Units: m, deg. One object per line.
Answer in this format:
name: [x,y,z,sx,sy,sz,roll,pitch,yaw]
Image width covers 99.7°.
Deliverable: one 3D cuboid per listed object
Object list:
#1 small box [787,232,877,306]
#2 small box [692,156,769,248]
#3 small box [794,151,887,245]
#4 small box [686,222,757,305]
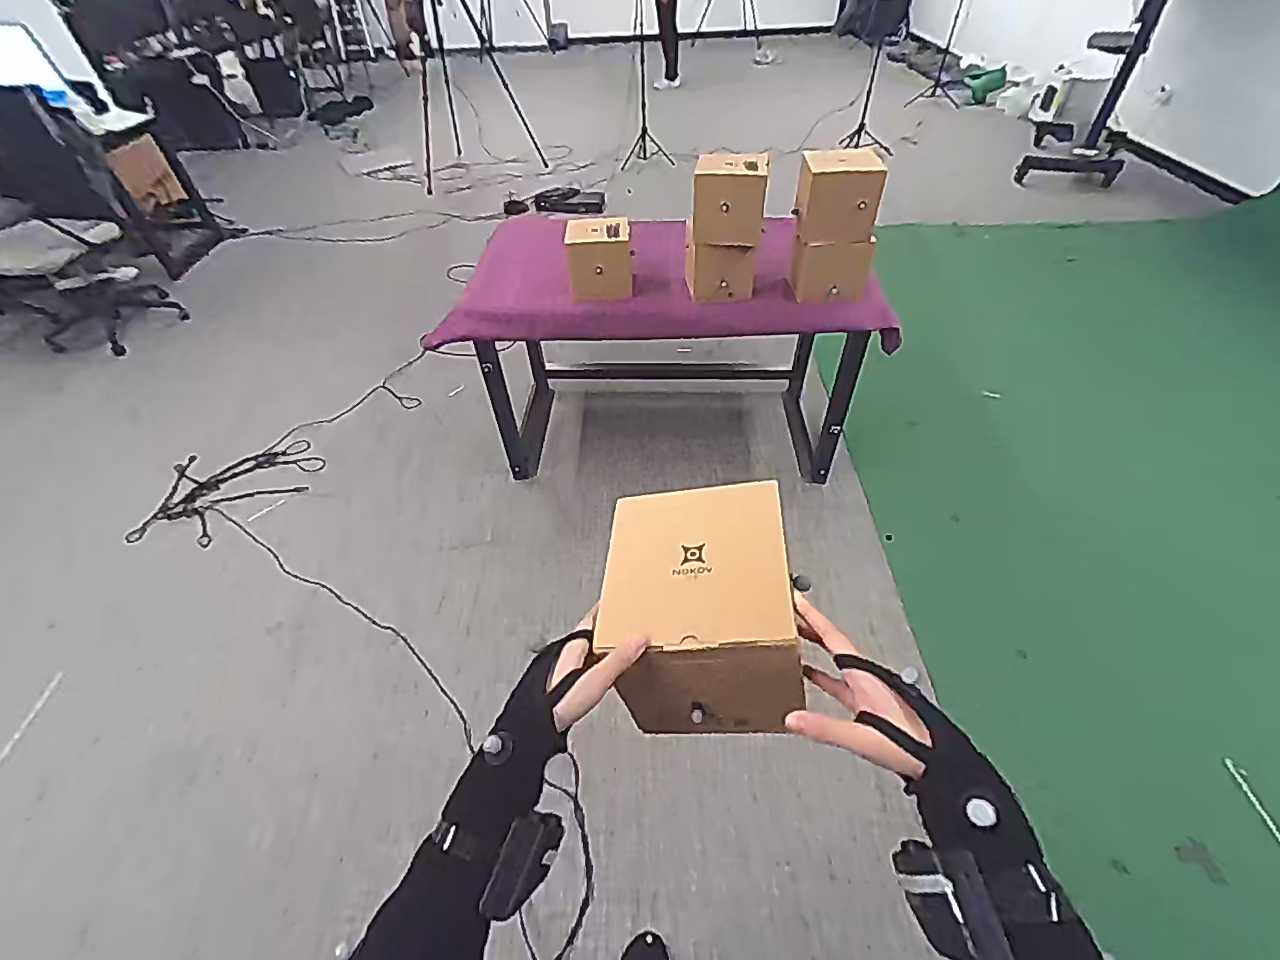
small box: [0.518,-0.595,1.483,0.179,0.176,0.168,-3,46,1]
small box: [0.230,-0.707,1.381,0.179,0.176,0.168,5,46,9]
small box: [0.499,-0.713,1.371,0.179,0.176,0.168,0,47,5]
small box: [0.222,-0.610,1.516,0.168,0.176,0.179,-5,46,-1]
